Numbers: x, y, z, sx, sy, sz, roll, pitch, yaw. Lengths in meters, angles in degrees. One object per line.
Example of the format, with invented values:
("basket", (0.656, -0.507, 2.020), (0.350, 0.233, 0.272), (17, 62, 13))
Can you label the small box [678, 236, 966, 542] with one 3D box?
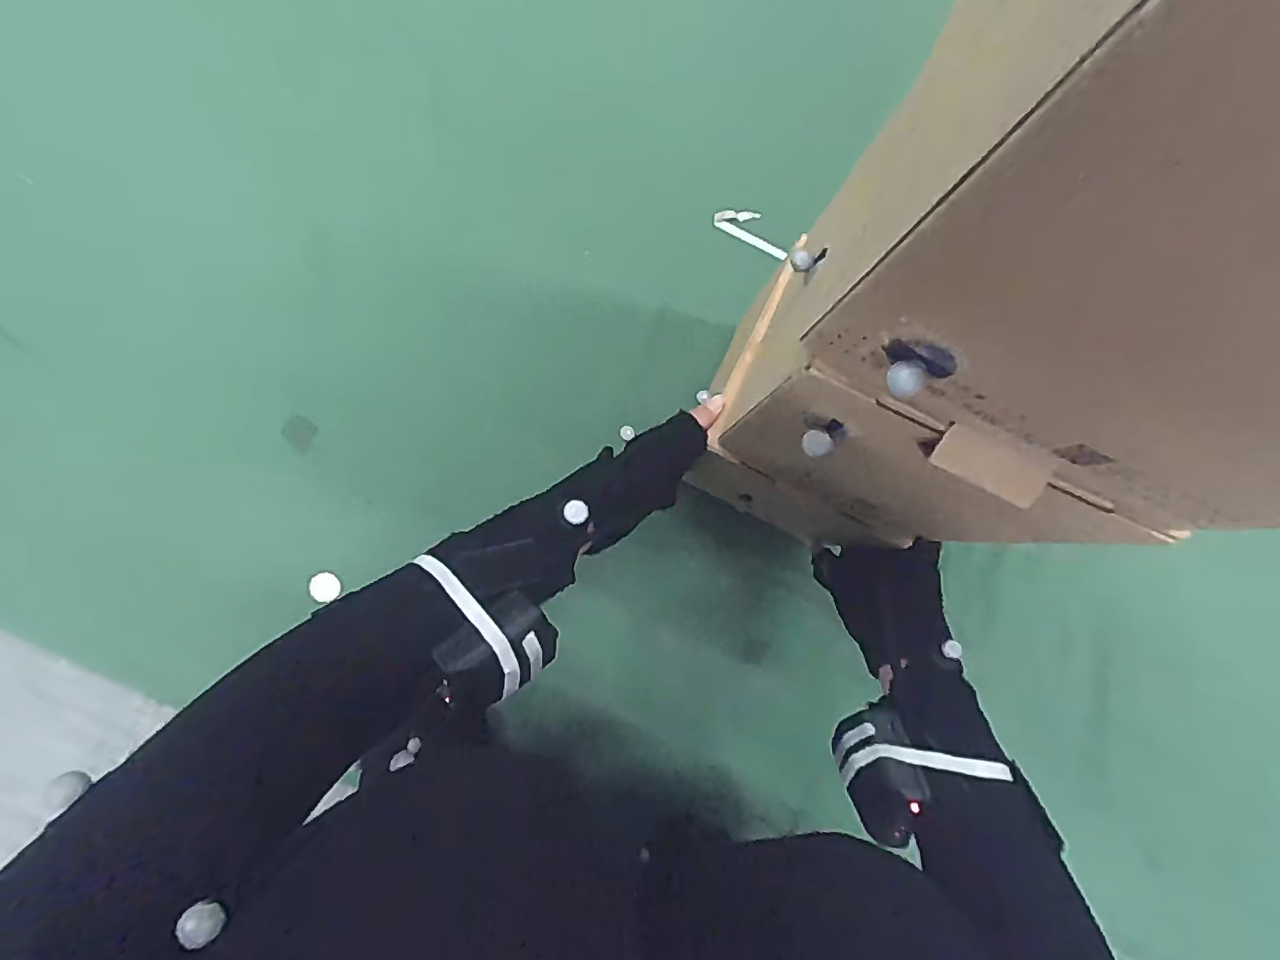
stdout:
("small box", (0.144, -0.061, 0.467), (0.168, 0.176, 0.179), (26, 84, -1))

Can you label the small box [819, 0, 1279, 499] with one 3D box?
("small box", (0.171, -0.106, 0.142), (0.168, 0.176, 0.179), (25, 82, -1))
